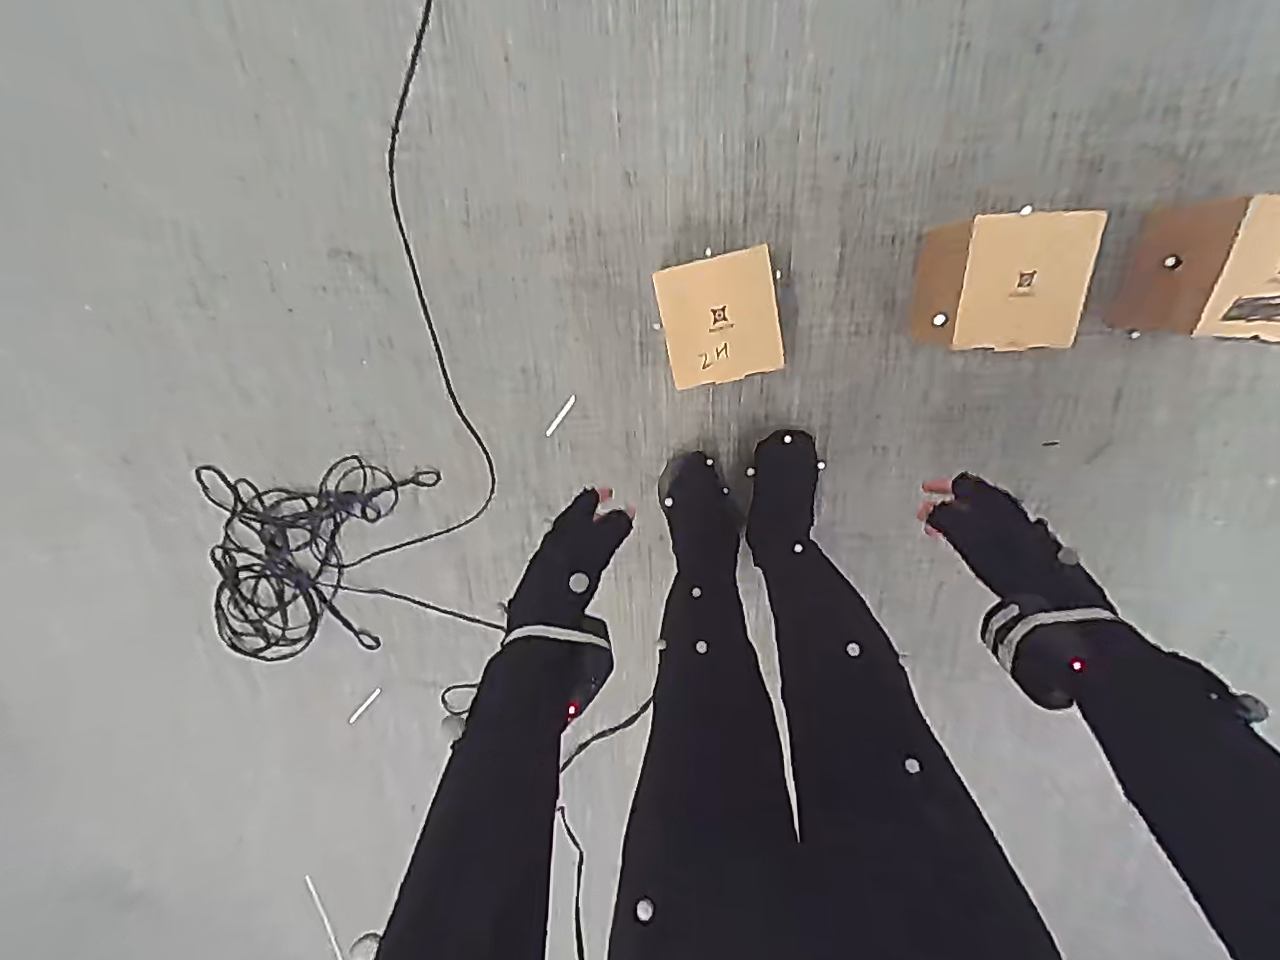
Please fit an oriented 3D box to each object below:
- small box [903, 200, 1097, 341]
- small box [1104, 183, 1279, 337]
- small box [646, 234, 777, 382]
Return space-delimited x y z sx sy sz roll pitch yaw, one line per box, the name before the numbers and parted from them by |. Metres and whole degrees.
small box | 0.511 -0.305 0.800 0.168 0.176 0.179 0 112 5
small box | 0.825 -0.309 0.773 0.168 0.176 0.179 6 111 2
small box | 0.109 -0.267 0.846 0.168 0.176 0.179 -11 110 9
